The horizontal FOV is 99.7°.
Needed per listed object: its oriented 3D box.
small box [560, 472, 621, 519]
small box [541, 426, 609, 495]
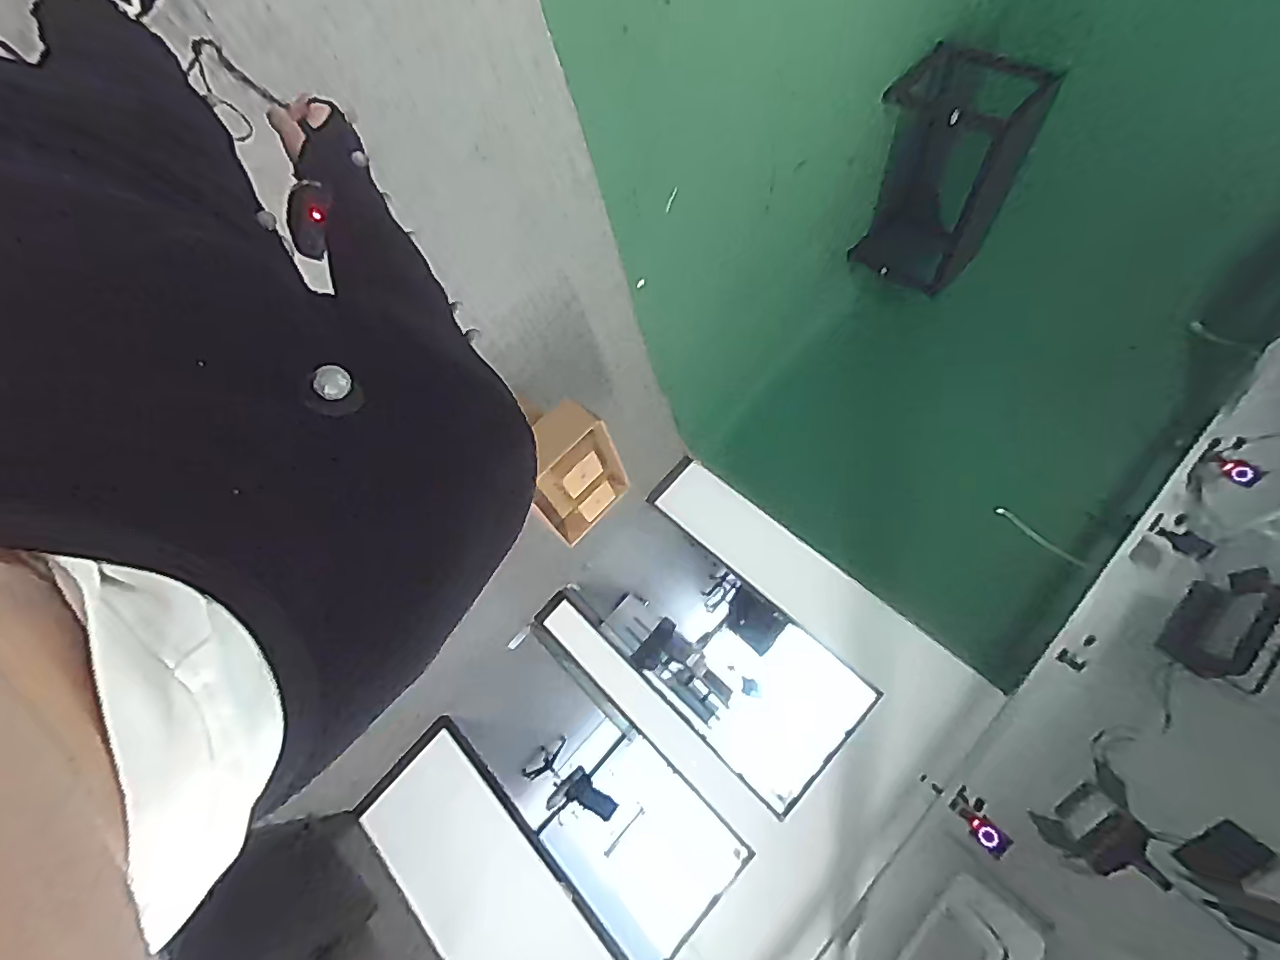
[{"bbox_3d":[-0.209,0.030,2.303,0.168,0.176,0.179,-45,154,-10],"label":"small box"},{"bbox_3d":[-0.248,-0.077,2.074,0.168,0.176,0.179,-45,155,-12],"label":"small box"}]
